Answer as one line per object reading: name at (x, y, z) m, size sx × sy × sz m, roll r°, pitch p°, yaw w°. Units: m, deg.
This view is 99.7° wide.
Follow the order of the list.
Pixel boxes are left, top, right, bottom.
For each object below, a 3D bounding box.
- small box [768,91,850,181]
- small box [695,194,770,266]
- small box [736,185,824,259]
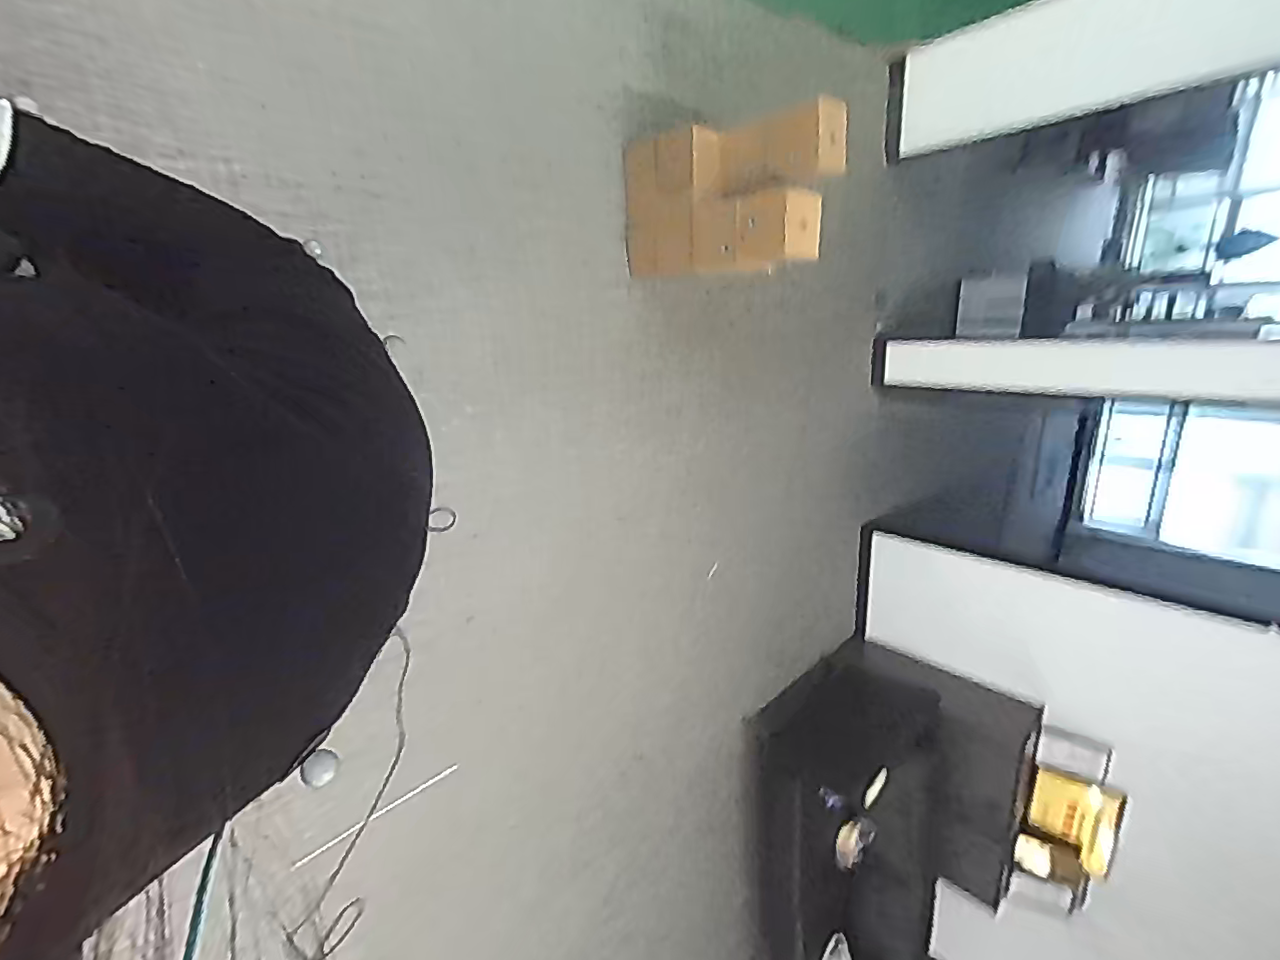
small box at (0.480, -0.972, 1.547) m, size 0.168 × 0.176 × 0.179 m, roll -23°, pitch 114°, yaw -40°
small box at (0.280, -0.750, 1.638) m, size 0.168 × 0.176 × 0.179 m, roll -18°, pitch 113°, yaw -41°
small box at (0.394, -0.720, 1.525) m, size 0.179 × 0.176 × 0.168 m, roll -17°, pitch 113°, yaw -39°
